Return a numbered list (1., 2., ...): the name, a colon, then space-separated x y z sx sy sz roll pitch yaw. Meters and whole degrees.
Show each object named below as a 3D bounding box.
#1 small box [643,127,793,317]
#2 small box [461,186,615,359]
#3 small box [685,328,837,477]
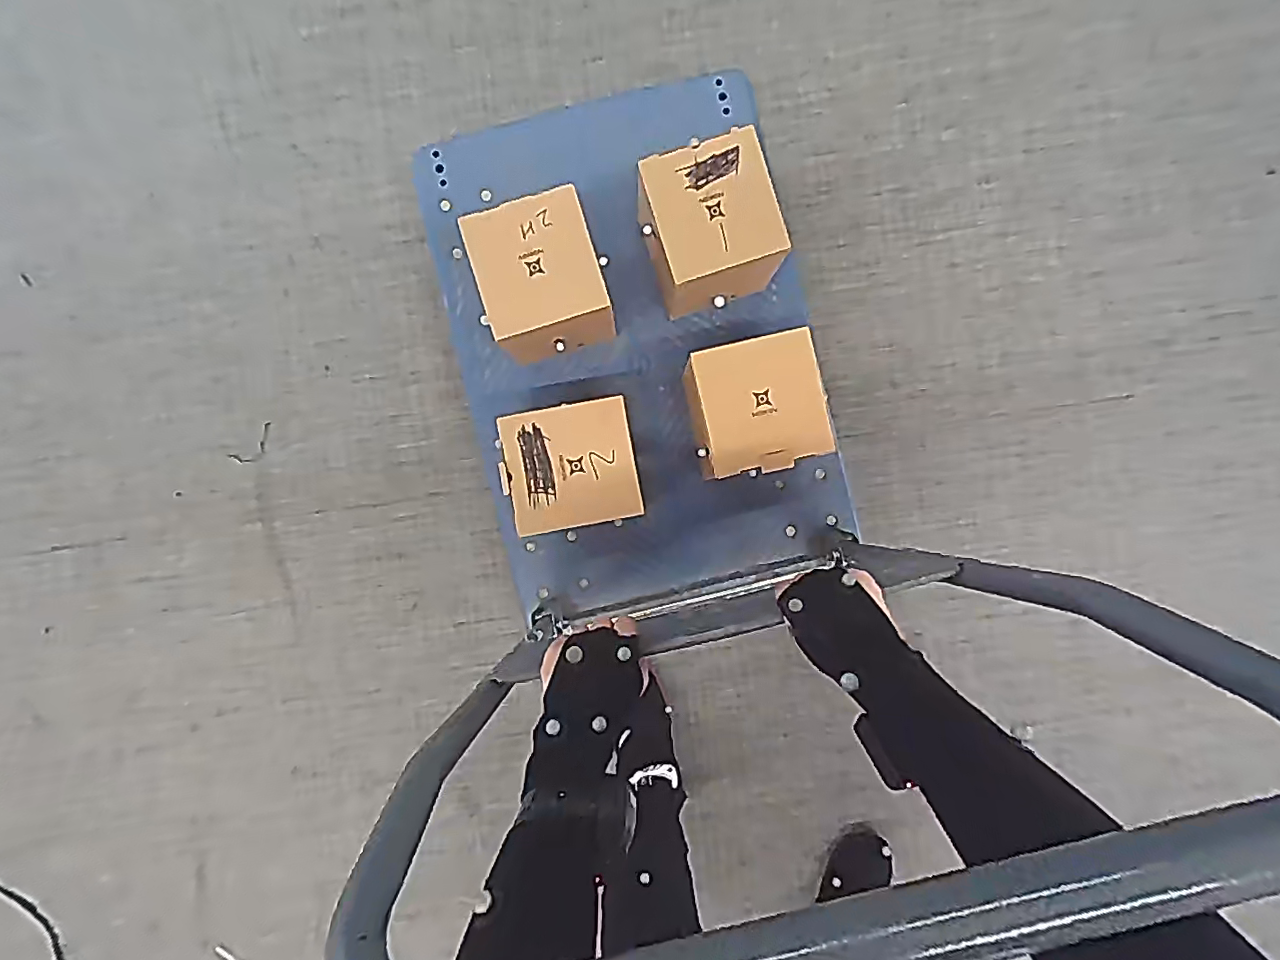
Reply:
1. small box: 0.103 -0.367 0.800 0.168 0.176 0.179 -17 91 1
2. small box: -0.139 -0.290 0.802 0.168 0.176 0.179 -17 90 0
3. small box: 0.167 -0.104 0.803 0.168 0.176 0.179 -13 91 0
